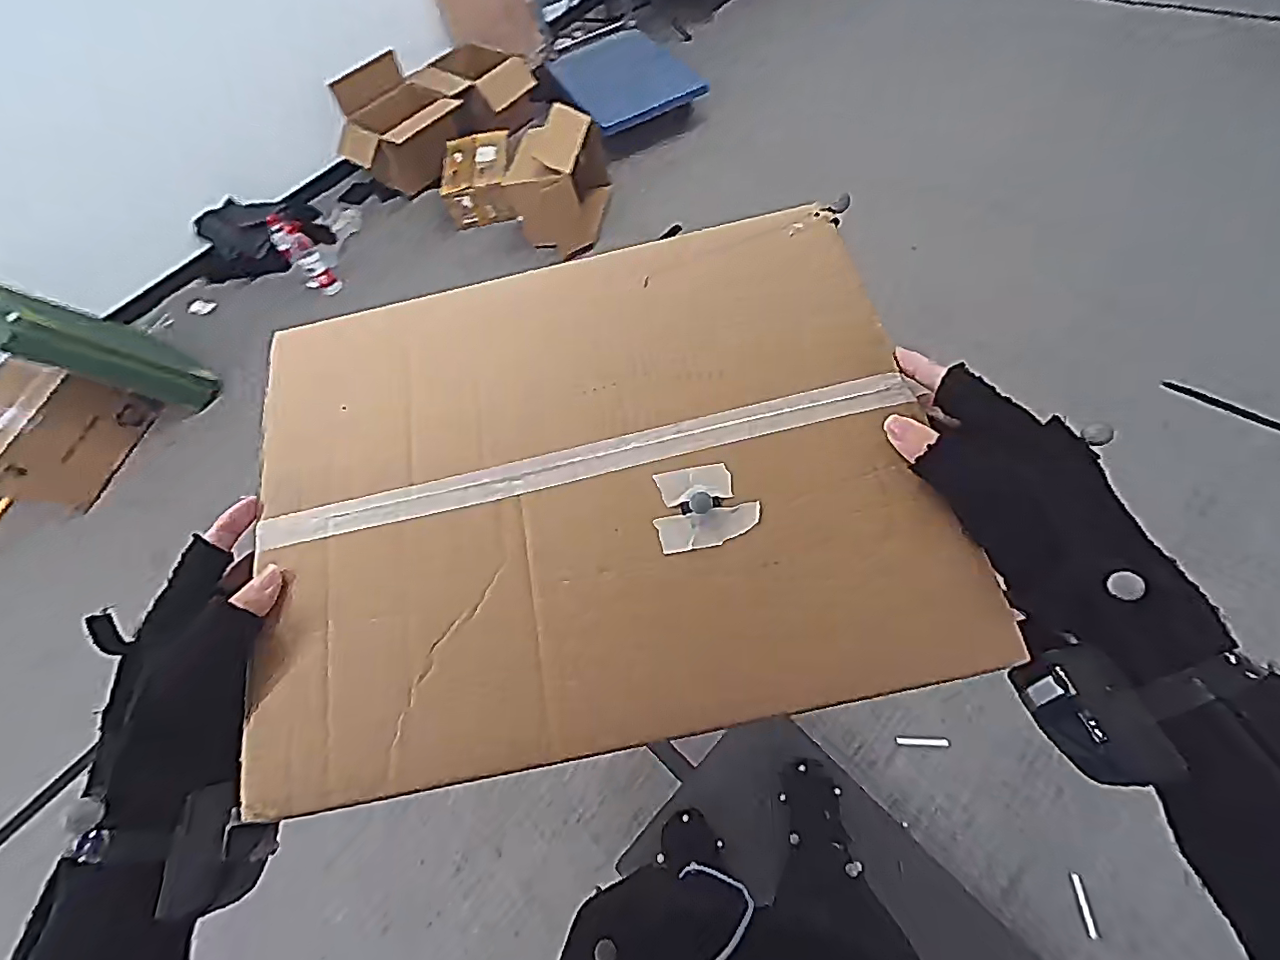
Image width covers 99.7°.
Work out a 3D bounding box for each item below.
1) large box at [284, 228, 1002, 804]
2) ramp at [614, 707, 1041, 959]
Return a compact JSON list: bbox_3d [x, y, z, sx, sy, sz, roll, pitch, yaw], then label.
[{"bbox_3d":[-0.015,0.049,0.481,0.408,0.320,0.320,-12,69,2],"label":"large box"},{"bbox_3d":[0.464,0.968,1.075,0.991,0.206,0.509,37,72,25],"label":"ramp"}]
